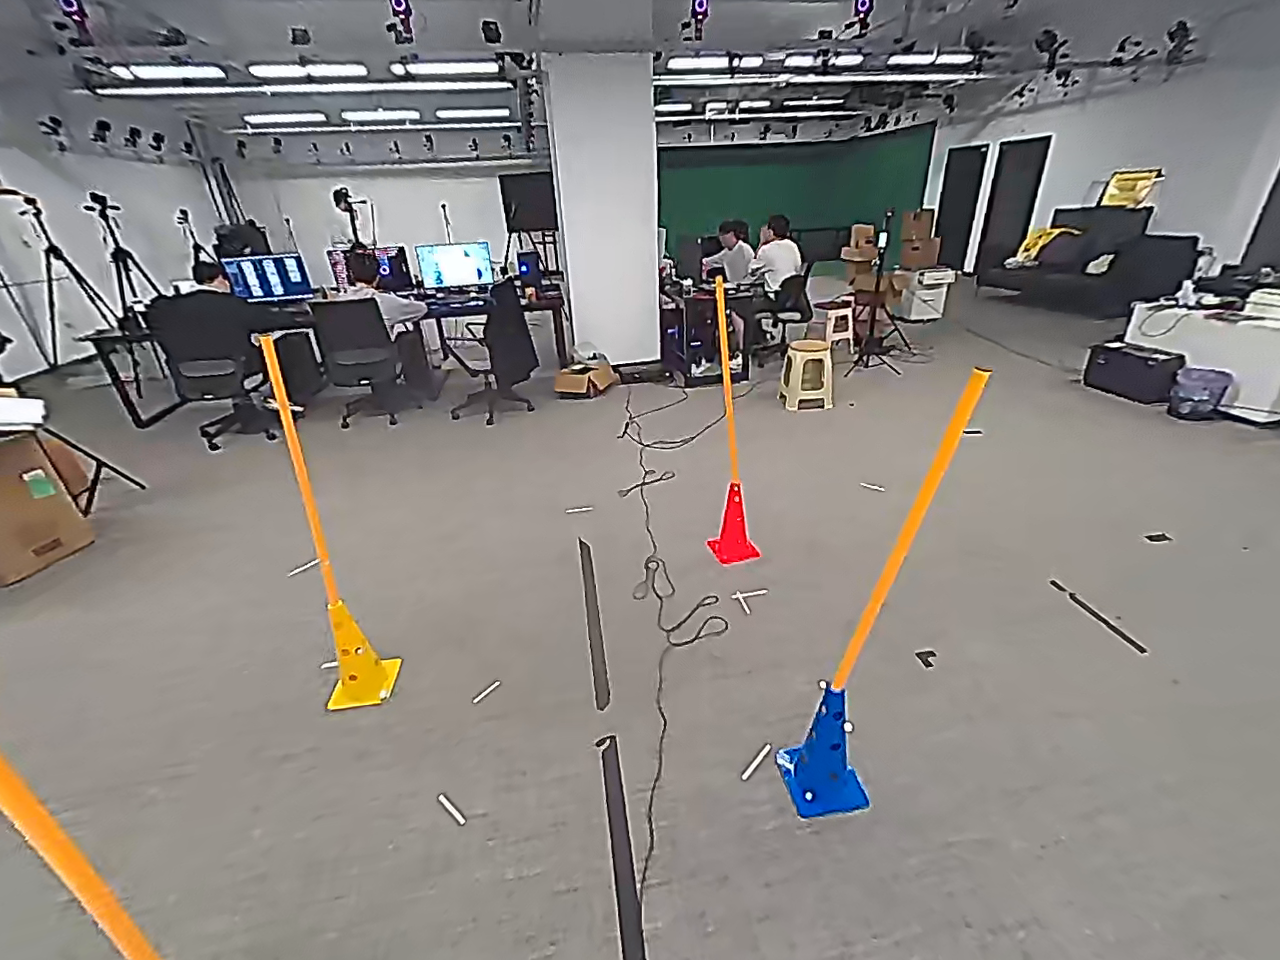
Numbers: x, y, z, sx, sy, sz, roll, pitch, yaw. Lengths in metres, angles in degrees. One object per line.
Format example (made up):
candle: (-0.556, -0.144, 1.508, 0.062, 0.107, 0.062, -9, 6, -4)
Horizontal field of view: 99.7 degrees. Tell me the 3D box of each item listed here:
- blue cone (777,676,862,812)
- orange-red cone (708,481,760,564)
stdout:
blue cone: (0.489, 0.677, 1.431, 0.193, 0.380, 0.192, -6, 26, -5)
orange-red cone: (0.419, 0.170, 2.417, 0.199, 0.360, 0.198, -11, 27, -11)
